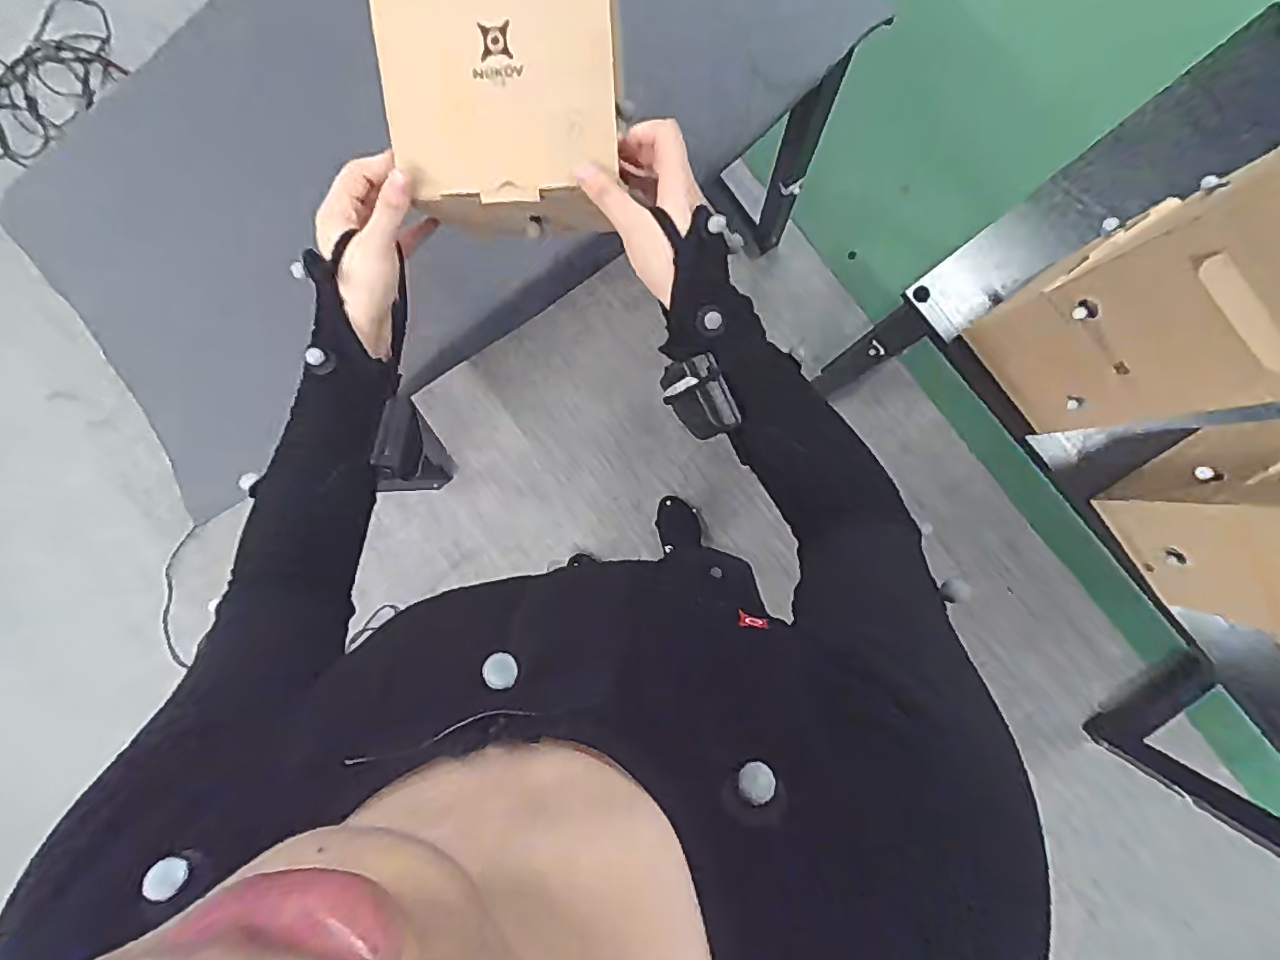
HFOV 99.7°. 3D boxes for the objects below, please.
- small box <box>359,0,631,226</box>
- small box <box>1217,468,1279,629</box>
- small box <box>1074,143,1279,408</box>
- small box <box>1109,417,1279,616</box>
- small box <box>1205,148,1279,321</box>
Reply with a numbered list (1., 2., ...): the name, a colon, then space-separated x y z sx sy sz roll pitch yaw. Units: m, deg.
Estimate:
1. small box: -0.098 -0.310 0.438 0.168 0.176 0.179 -3 108 3
2. small box: 0.683 0.064 0.463 0.168 0.176 0.179 -26 88 5
3. small box: 0.537 -0.181 0.472 0.179 0.176 0.168 -34 88 3
4. small box: 0.705 0.041 0.624 0.179 0.176 0.168 -34 88 4
5. small box: 0.517 -0.175 0.311 0.168 0.176 0.179 -34 88 2
